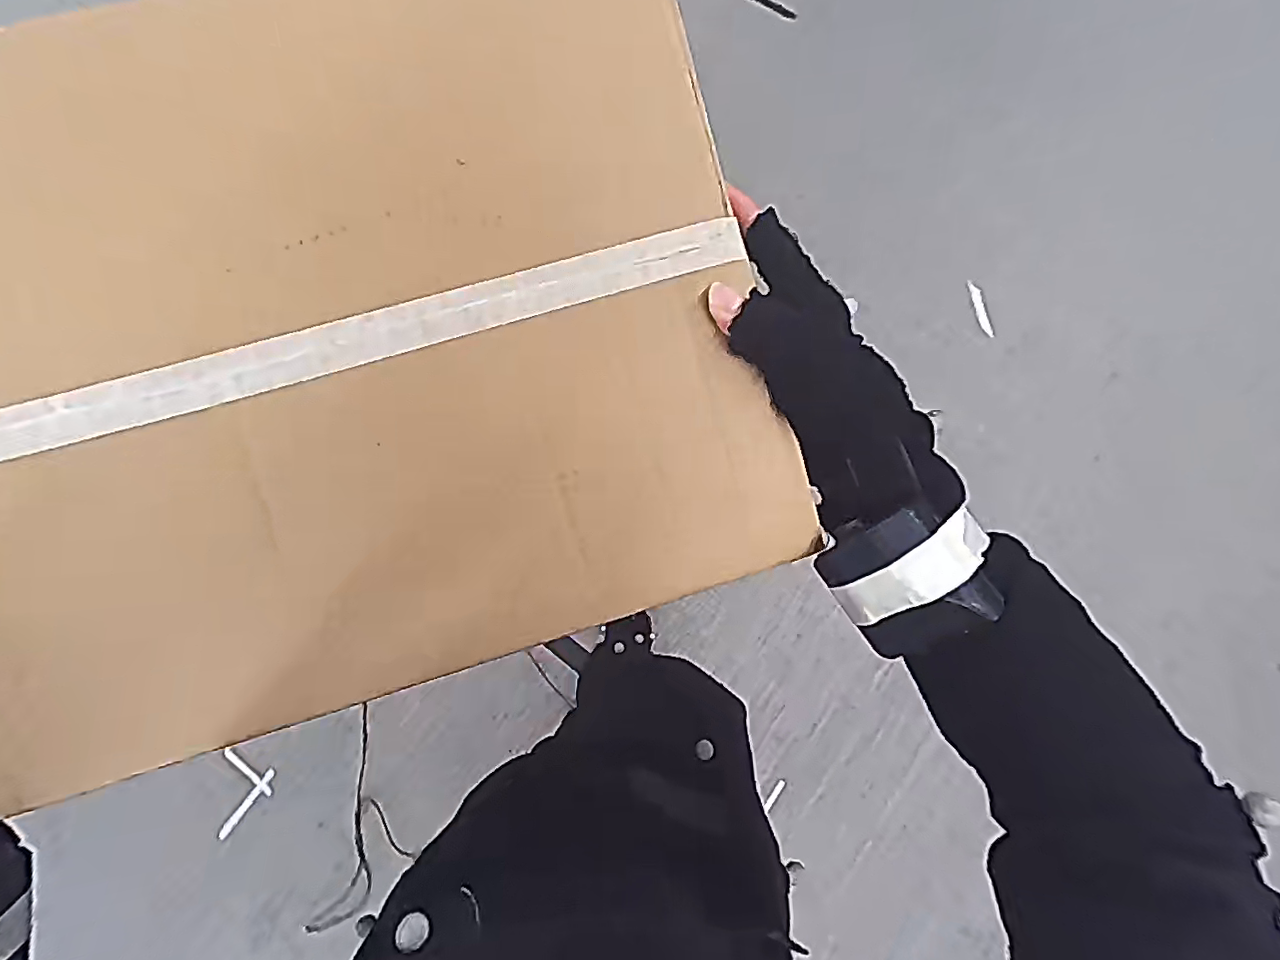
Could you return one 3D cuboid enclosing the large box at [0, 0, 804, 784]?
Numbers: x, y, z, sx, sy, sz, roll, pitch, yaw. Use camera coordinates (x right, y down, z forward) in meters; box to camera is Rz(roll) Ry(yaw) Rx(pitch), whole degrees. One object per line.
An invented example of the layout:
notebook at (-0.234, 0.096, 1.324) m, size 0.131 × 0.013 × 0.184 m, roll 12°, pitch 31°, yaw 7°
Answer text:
large box at (-0.156, -0.069, 0.400) m, size 0.408 × 0.320 × 0.320 m, roll -15°, pitch 94°, yaw -6°
